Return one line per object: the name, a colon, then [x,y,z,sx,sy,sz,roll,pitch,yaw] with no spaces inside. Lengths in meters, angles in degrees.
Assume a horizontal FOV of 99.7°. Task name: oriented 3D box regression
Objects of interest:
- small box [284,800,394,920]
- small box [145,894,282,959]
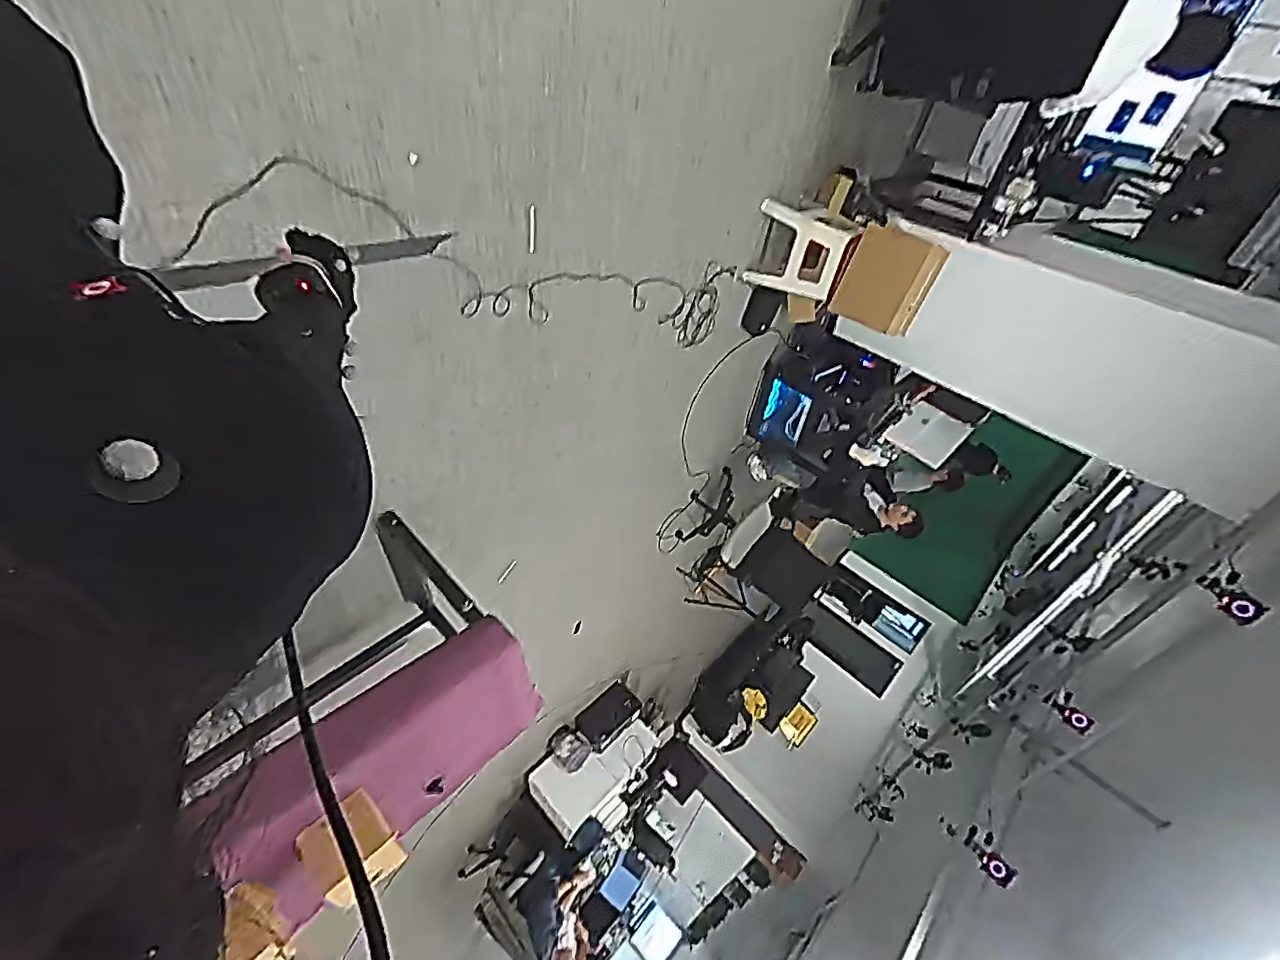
small box: [-0.754,0.949,1.359,0.168,0.176,0.179,-33,145,-34]
small box: [-0.951,1.076,1.204,0.179,0.176,0.168,-34,147,-34]
